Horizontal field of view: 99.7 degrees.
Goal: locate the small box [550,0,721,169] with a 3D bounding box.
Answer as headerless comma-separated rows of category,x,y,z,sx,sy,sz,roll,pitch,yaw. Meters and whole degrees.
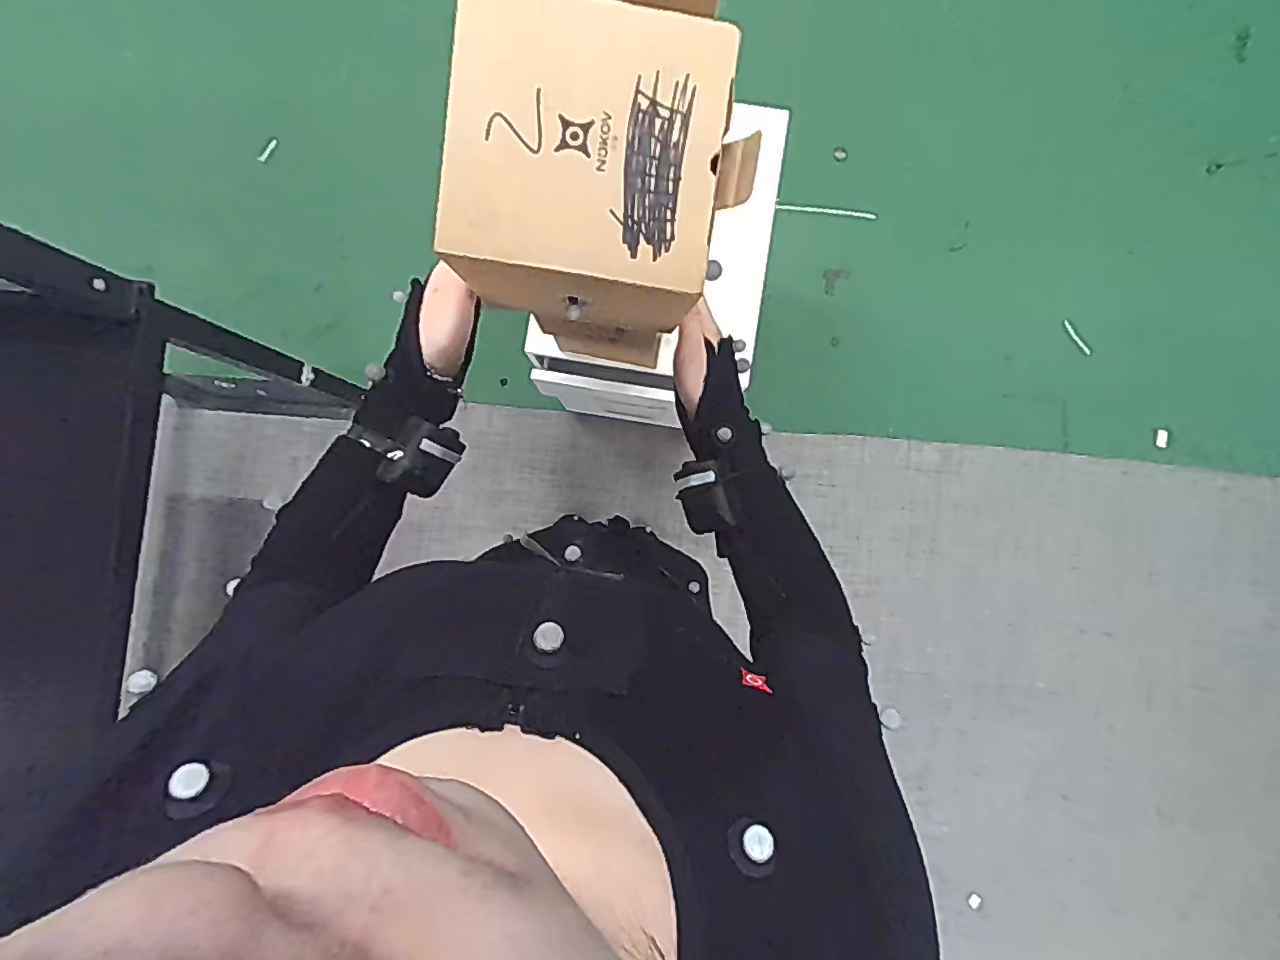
small box,-0.003,-0.533,0.700,0.179,0.176,0.168,12,87,-1

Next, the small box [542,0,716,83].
small box,-0.006,-0.536,0.535,0.179,0.176,0.168,5,88,-2

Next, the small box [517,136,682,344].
small box,-0.046,-0.286,0.685,0.168,0.176,0.179,9,86,-1

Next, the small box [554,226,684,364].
small box,-0.039,-0.294,0.848,0.179,0.176,0.168,12,87,-1
